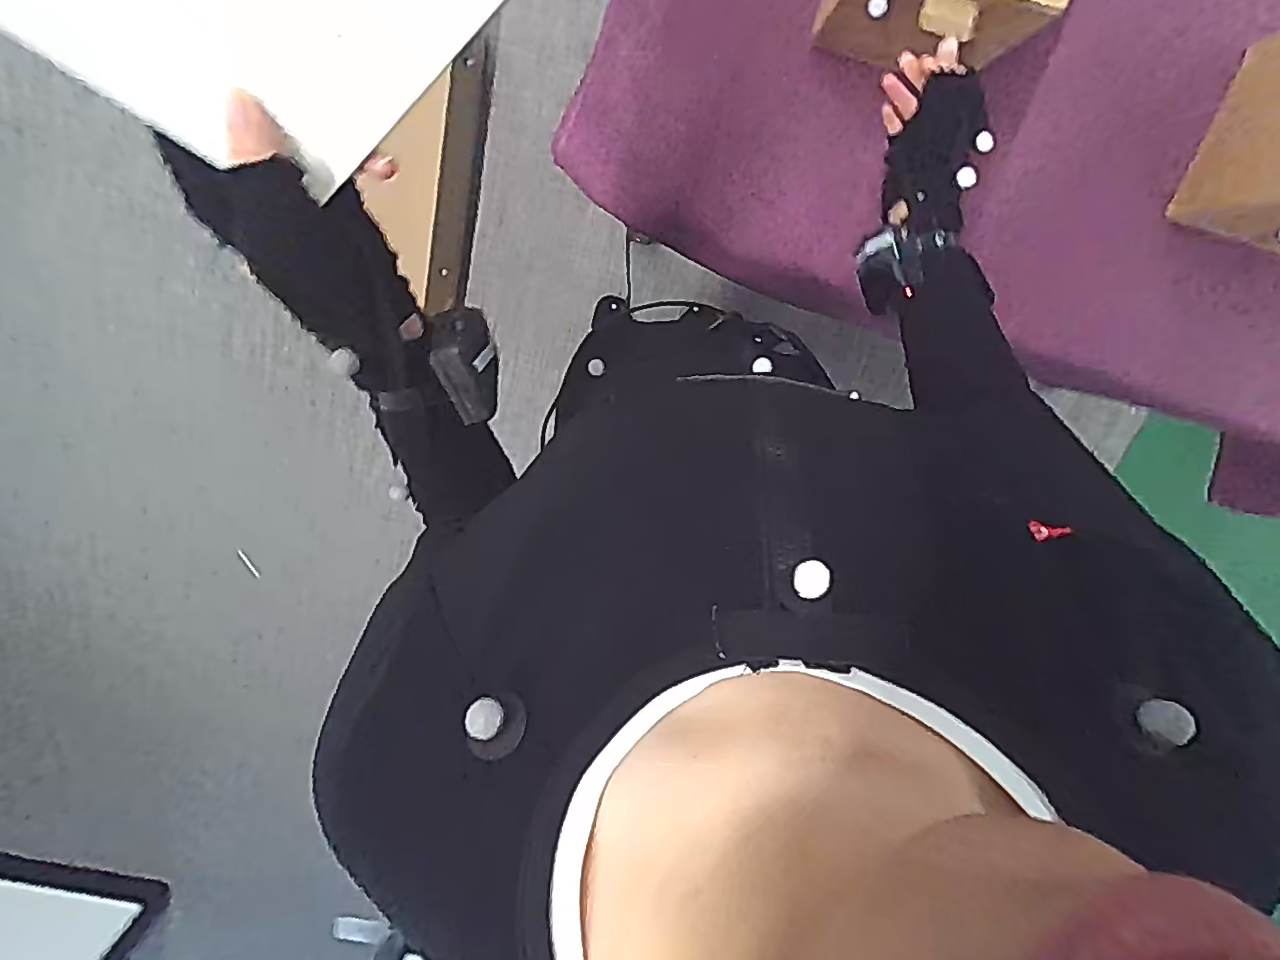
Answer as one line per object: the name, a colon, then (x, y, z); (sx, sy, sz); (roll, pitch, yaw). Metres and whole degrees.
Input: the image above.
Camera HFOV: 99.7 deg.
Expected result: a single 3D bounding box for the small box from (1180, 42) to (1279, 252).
small box: (0.711, -0.337, 0.535); (0.168, 0.176, 0.179); (15, 108, -4)
